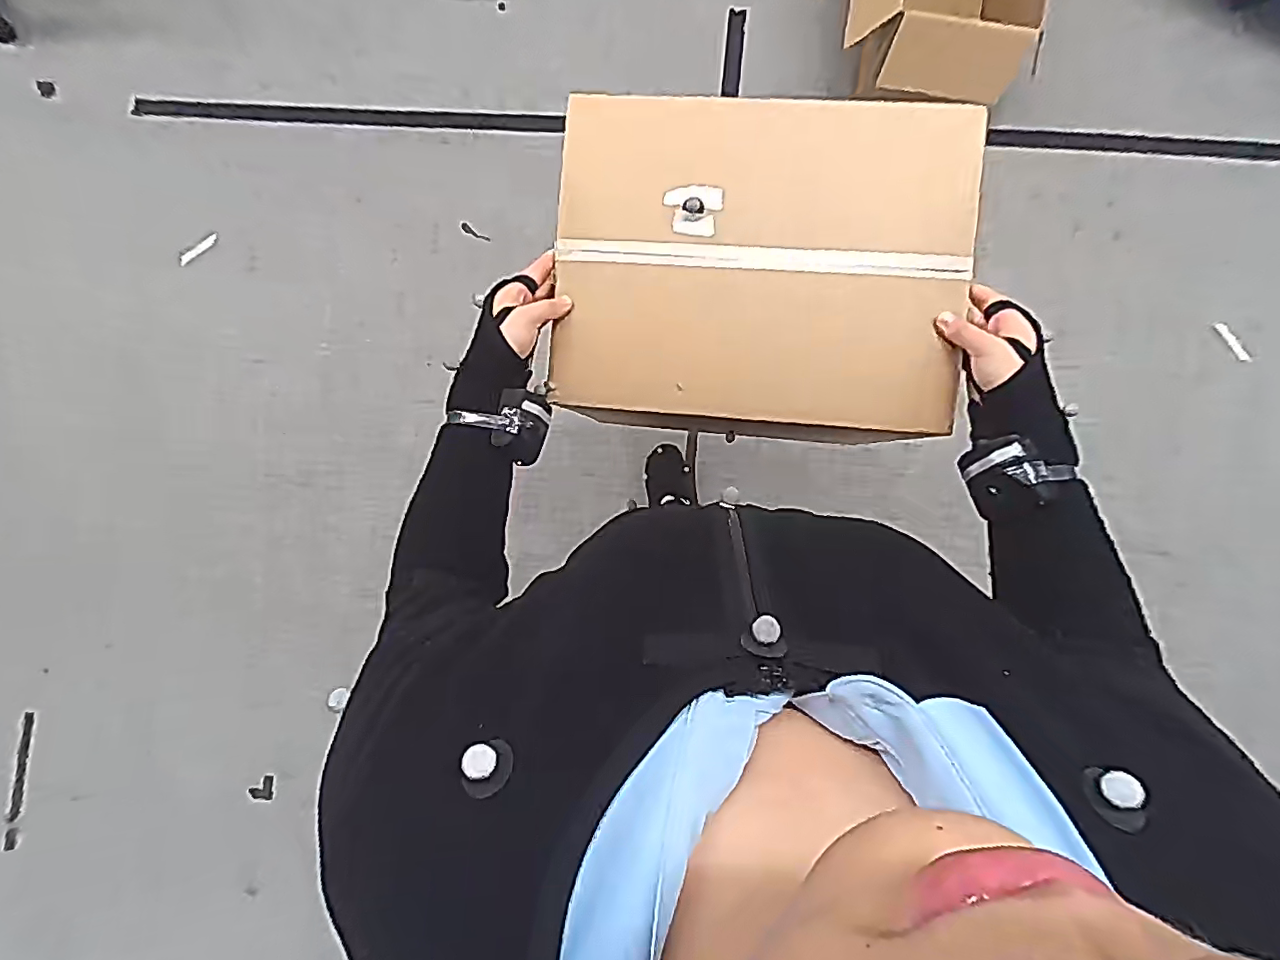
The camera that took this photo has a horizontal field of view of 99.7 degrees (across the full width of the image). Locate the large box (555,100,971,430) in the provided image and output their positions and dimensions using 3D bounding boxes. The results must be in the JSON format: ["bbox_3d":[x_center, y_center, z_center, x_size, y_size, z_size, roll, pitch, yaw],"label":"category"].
[{"bbox_3d":[0.132,-0.232,0.694,0.408,0.320,0.320,4,92,6],"label":"large box"}]
